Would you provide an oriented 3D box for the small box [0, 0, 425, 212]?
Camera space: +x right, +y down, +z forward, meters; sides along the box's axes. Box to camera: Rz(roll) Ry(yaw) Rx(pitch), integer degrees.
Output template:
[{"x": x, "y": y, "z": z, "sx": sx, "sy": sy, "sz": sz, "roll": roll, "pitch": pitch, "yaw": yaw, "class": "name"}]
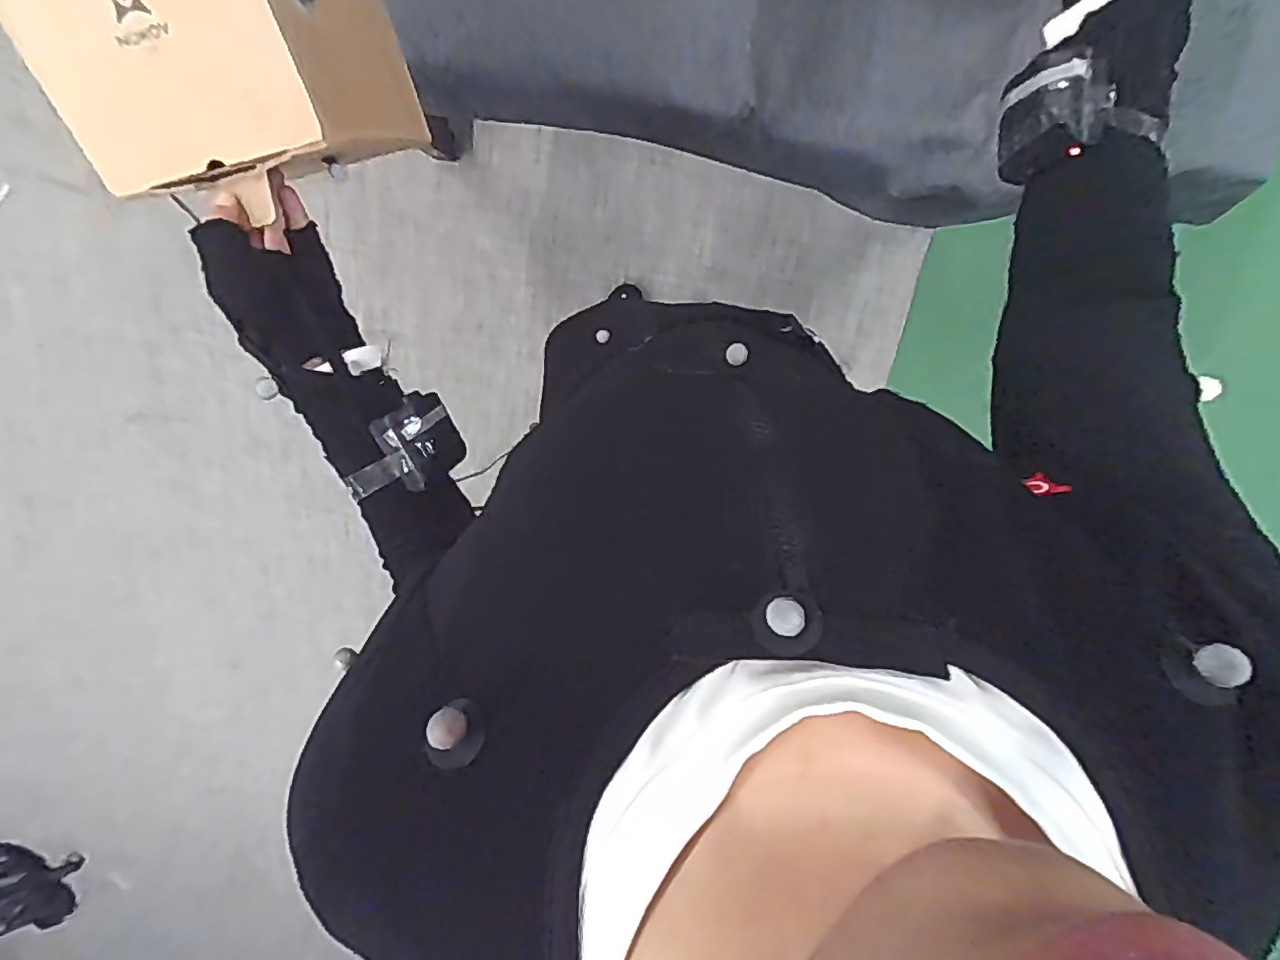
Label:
[{"x": -0.281, "y": -0.304, "z": 0.373, "sx": 0.168, "sy": 0.176, "sz": 0.179, "roll": -9, "pitch": 120, "yaw": 10, "class": "small box"}]
